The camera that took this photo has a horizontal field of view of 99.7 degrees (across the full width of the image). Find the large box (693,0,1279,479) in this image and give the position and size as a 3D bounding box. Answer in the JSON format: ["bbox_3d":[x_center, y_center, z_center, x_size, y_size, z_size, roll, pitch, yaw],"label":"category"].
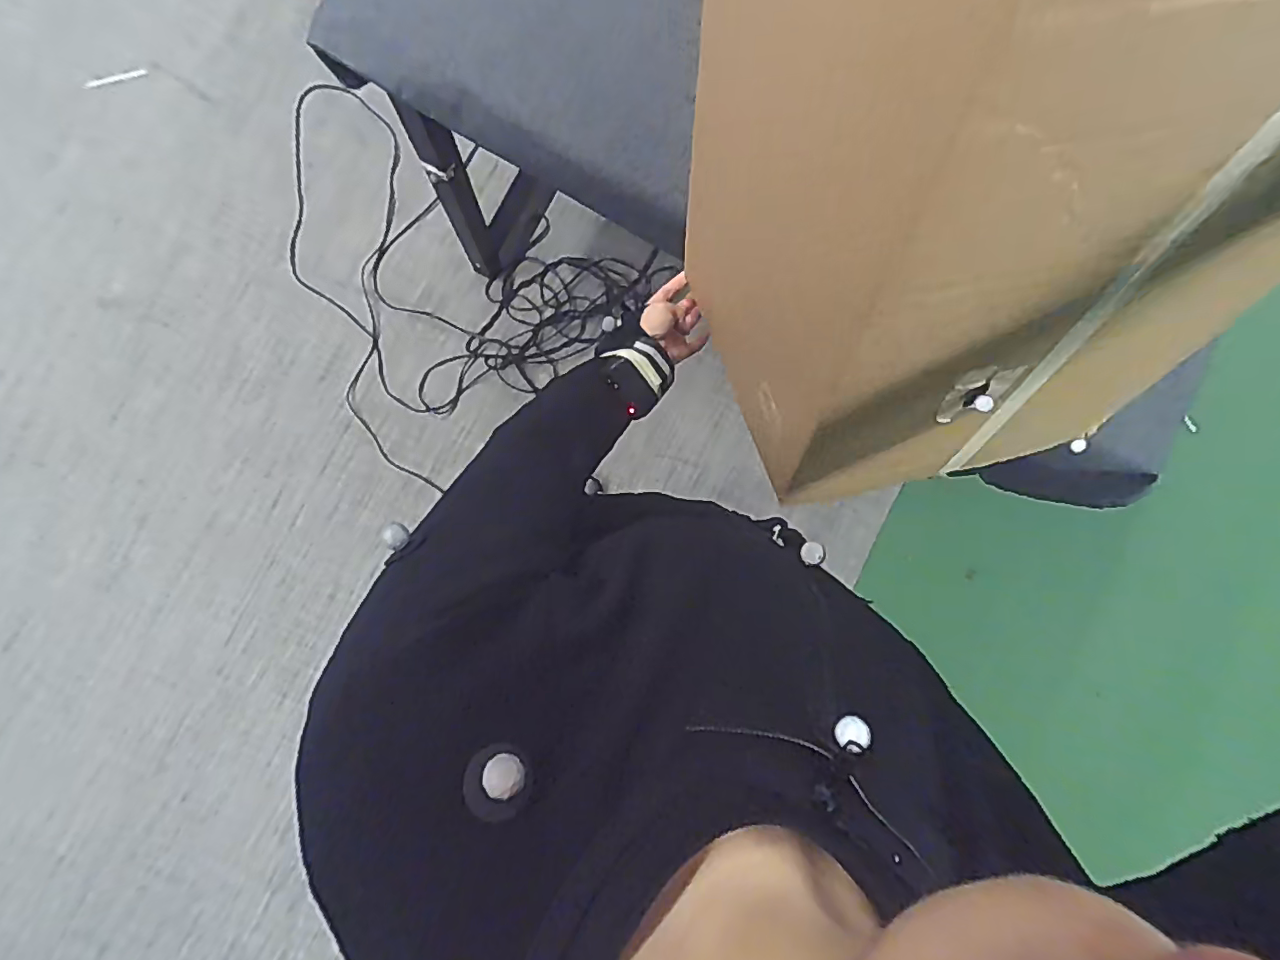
[{"bbox_3d":[0.237,-0.256,0.397,0.320,0.408,0.320,-14,63,-5],"label":"large box"}]
